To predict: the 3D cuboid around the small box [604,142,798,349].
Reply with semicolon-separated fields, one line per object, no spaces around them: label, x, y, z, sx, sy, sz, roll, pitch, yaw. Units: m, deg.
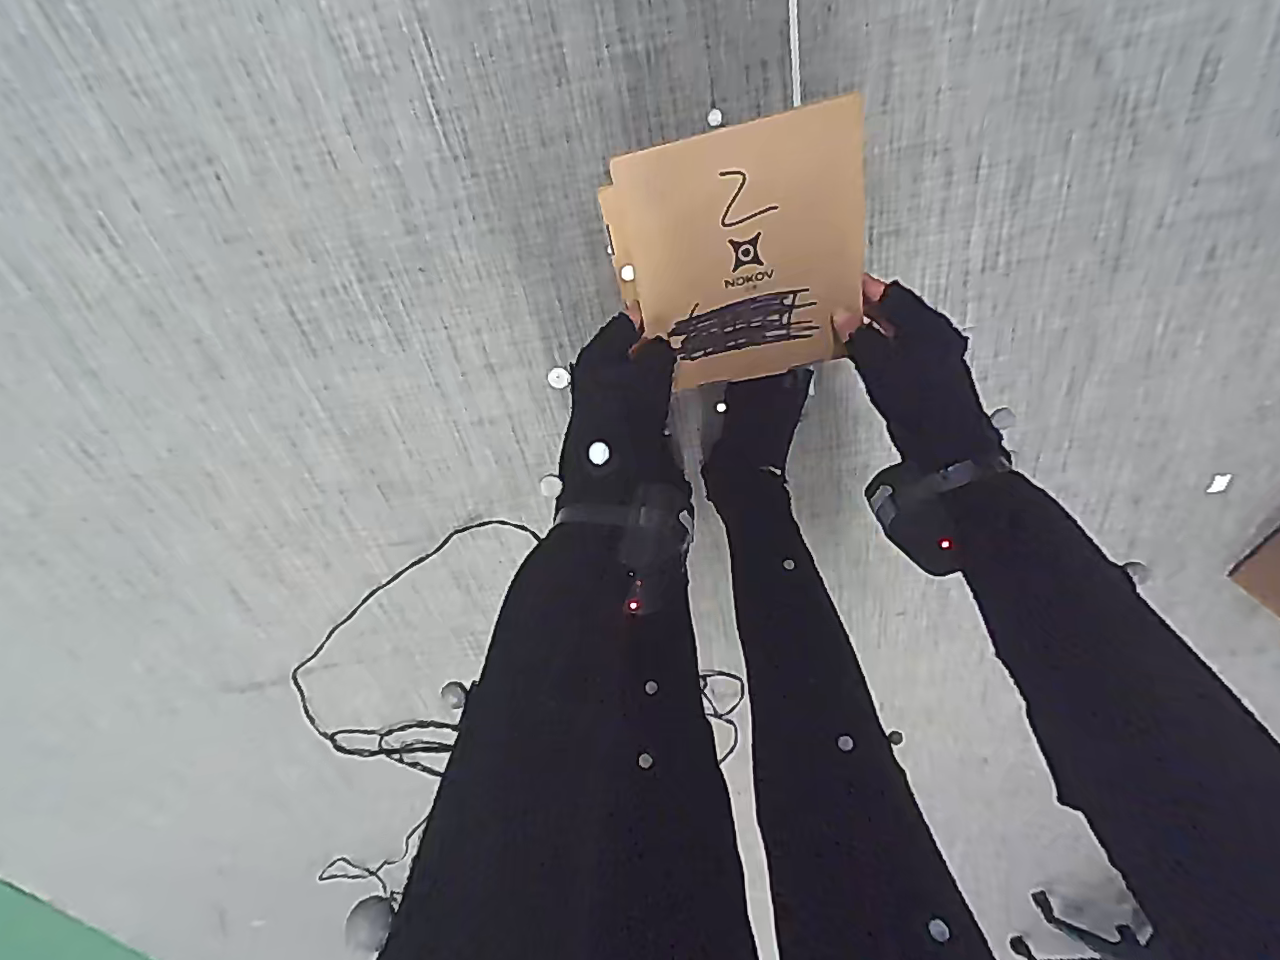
small box;0.067;-0.269;0.609;0.179;0.176;0.168;-11;121;9
